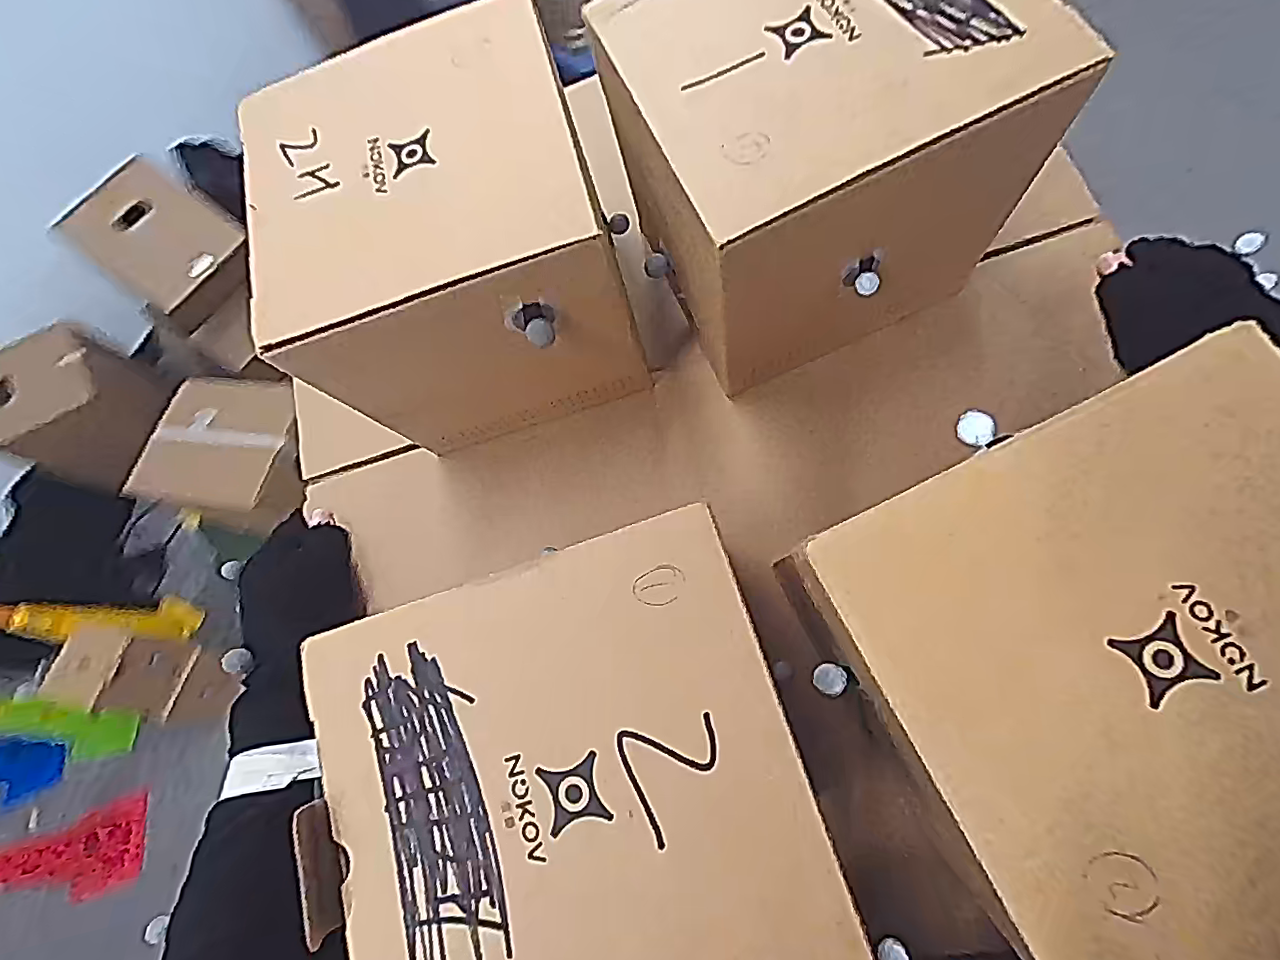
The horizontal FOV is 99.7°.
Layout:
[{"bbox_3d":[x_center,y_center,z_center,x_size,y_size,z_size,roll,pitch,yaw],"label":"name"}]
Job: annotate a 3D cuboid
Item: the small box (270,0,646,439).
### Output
[{"bbox_3d":[-0.099,-0.144,0.357,0.179,0.176,0.168,-15,73,7],"label":"small box"}]
